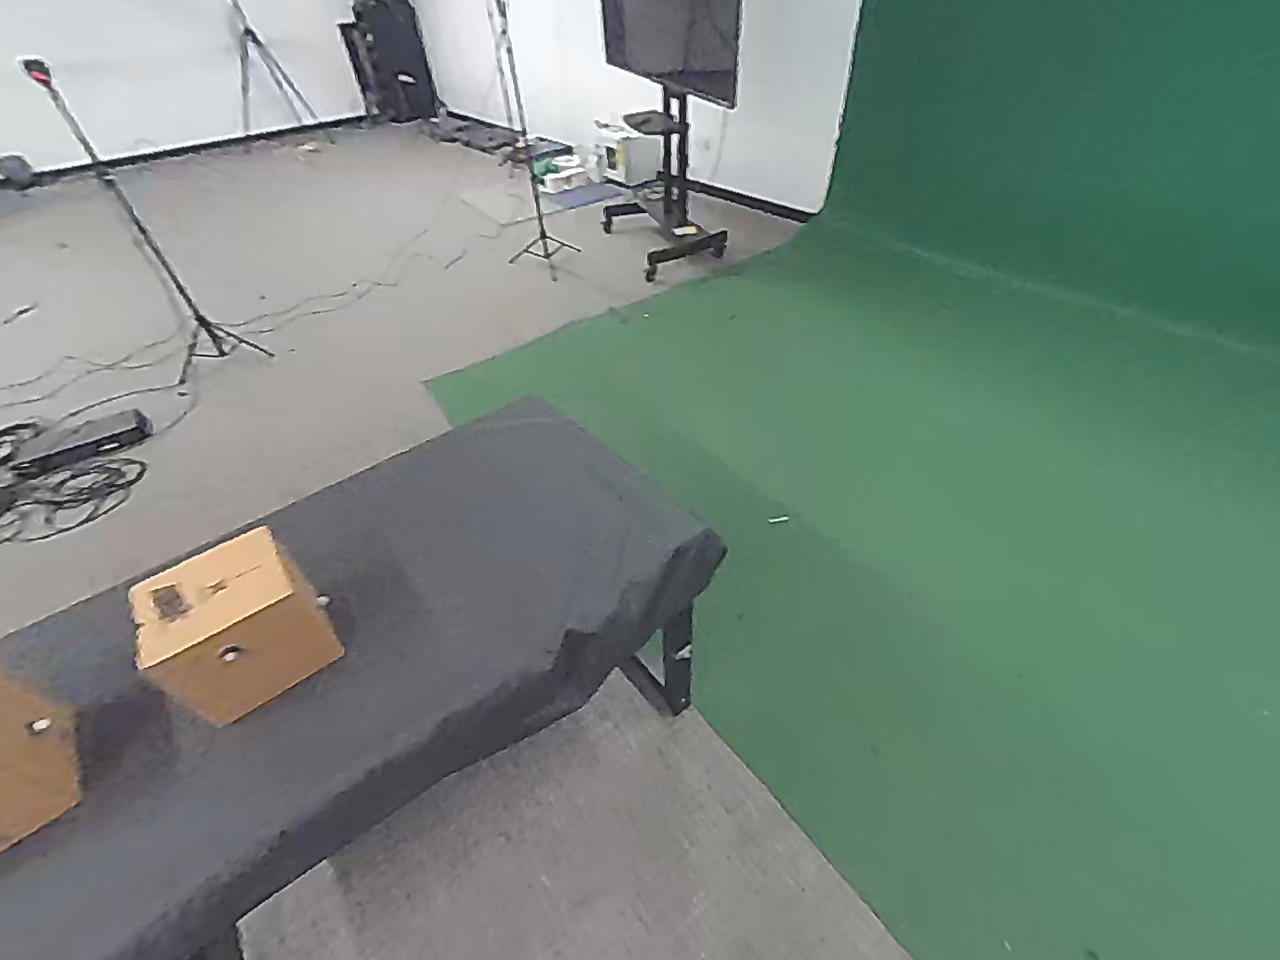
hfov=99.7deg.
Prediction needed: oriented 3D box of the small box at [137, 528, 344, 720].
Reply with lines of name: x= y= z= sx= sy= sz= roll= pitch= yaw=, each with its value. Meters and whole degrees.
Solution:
small box: x=-0.575 y=0.211 z=0.792 sx=0.179 sy=0.176 sz=0.168 roll=-31 pitch=50 yaw=-26
